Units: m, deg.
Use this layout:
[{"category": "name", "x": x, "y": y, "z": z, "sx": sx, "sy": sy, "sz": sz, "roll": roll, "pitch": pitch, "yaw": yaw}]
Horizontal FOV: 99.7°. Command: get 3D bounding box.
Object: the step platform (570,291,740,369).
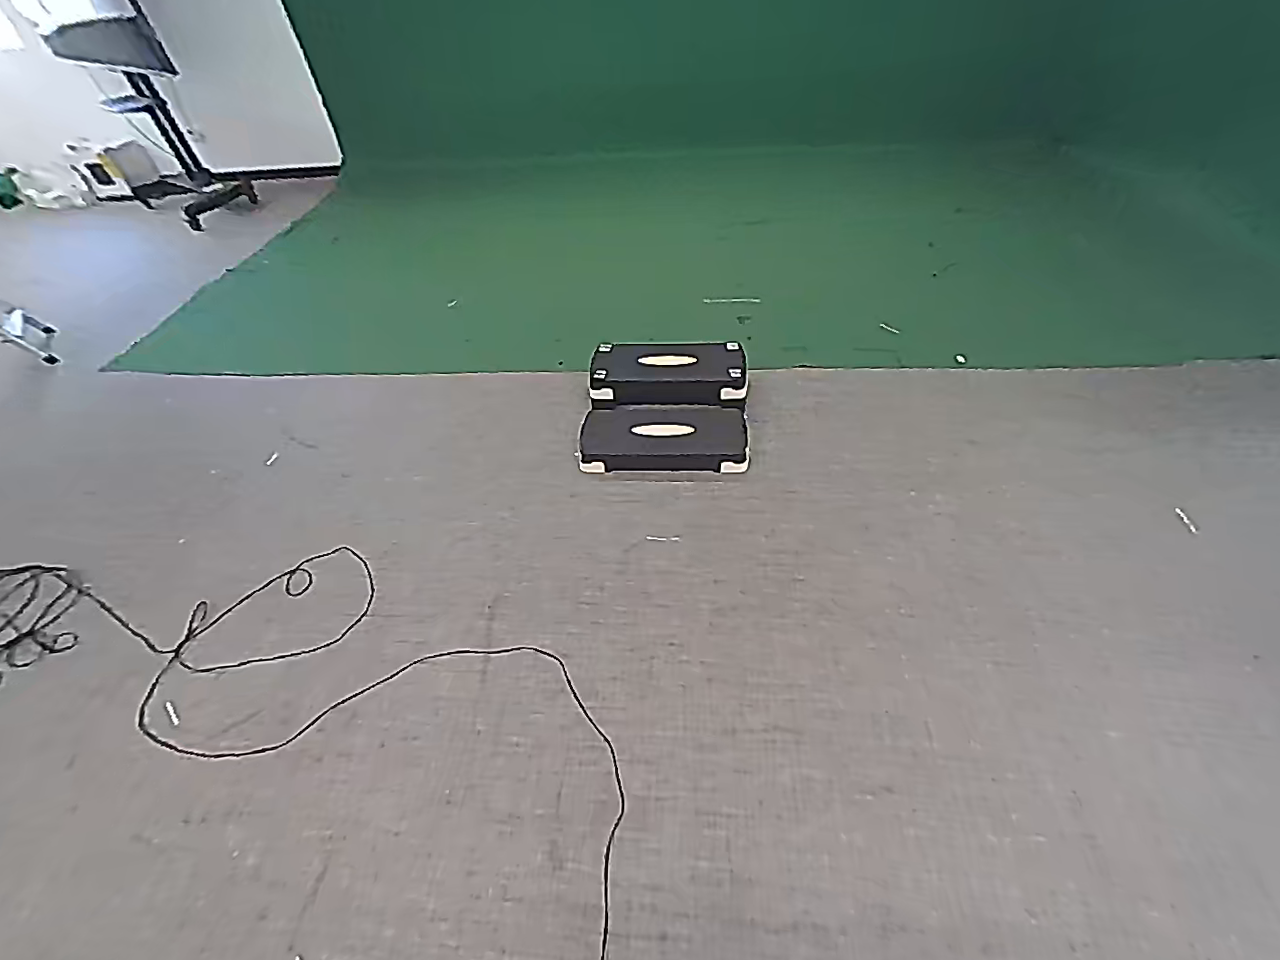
[{"category": "step platform", "x": 0.065, "y": -0.618, "z": 2.238, "sx": 0.684, "sy": 0.204, "sz": 0.286, "roll": 0, "pitch": 47, "yaw": 6}]
